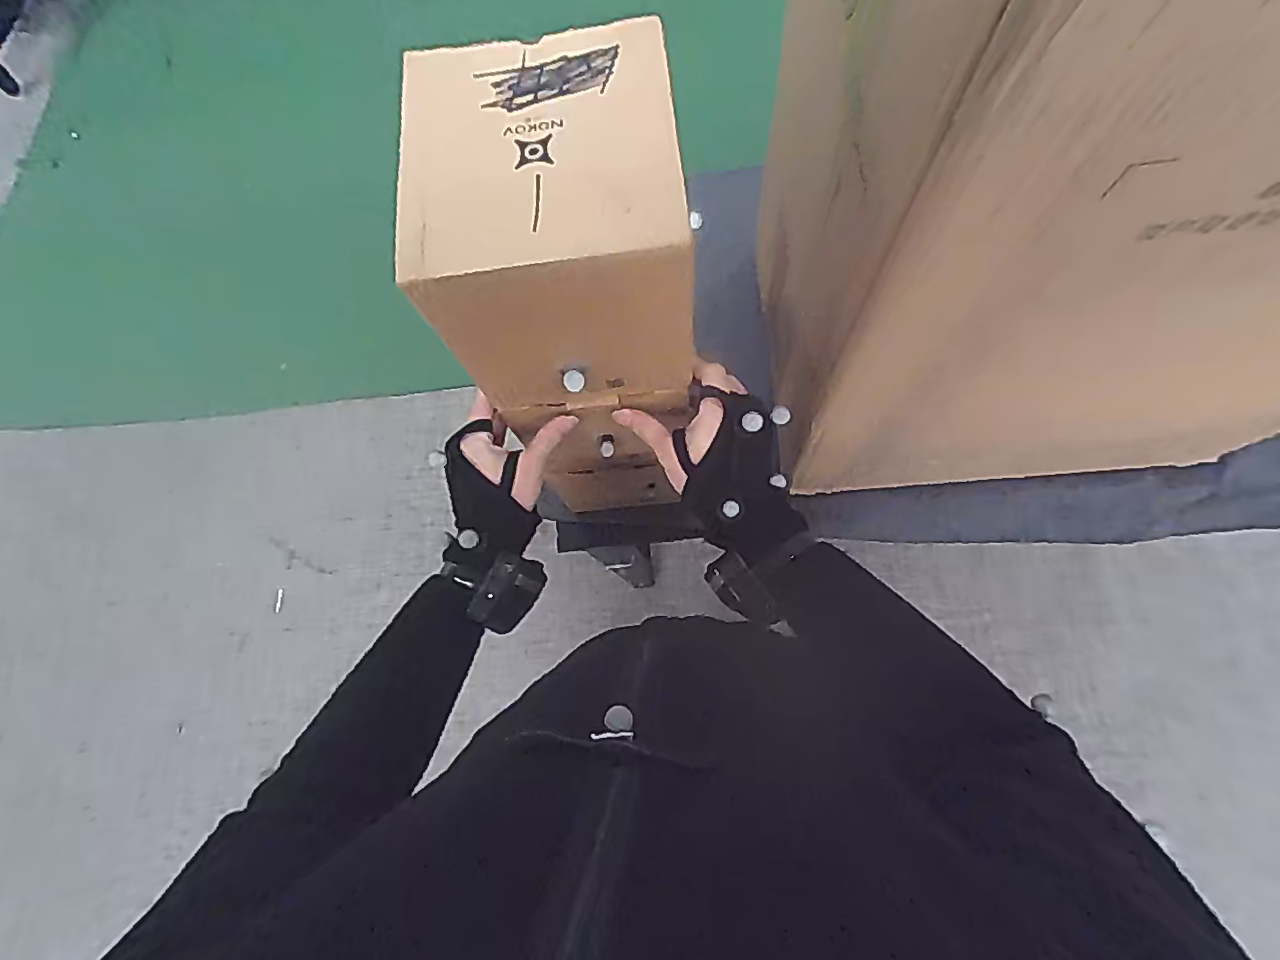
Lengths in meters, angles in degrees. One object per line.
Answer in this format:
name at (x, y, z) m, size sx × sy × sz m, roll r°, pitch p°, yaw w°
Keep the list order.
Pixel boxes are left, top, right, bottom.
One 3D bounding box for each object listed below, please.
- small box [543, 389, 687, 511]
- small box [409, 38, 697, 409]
small box at (-0.028, -0.063, 0.713) m, size 0.168 × 0.176 × 0.179 m, roll -6°, pitch 70°, yaw 2°
small box at (-0.051, -0.173, 0.405) m, size 0.168 × 0.176 × 0.179 m, roll -7°, pitch 72°, yaw 3°
